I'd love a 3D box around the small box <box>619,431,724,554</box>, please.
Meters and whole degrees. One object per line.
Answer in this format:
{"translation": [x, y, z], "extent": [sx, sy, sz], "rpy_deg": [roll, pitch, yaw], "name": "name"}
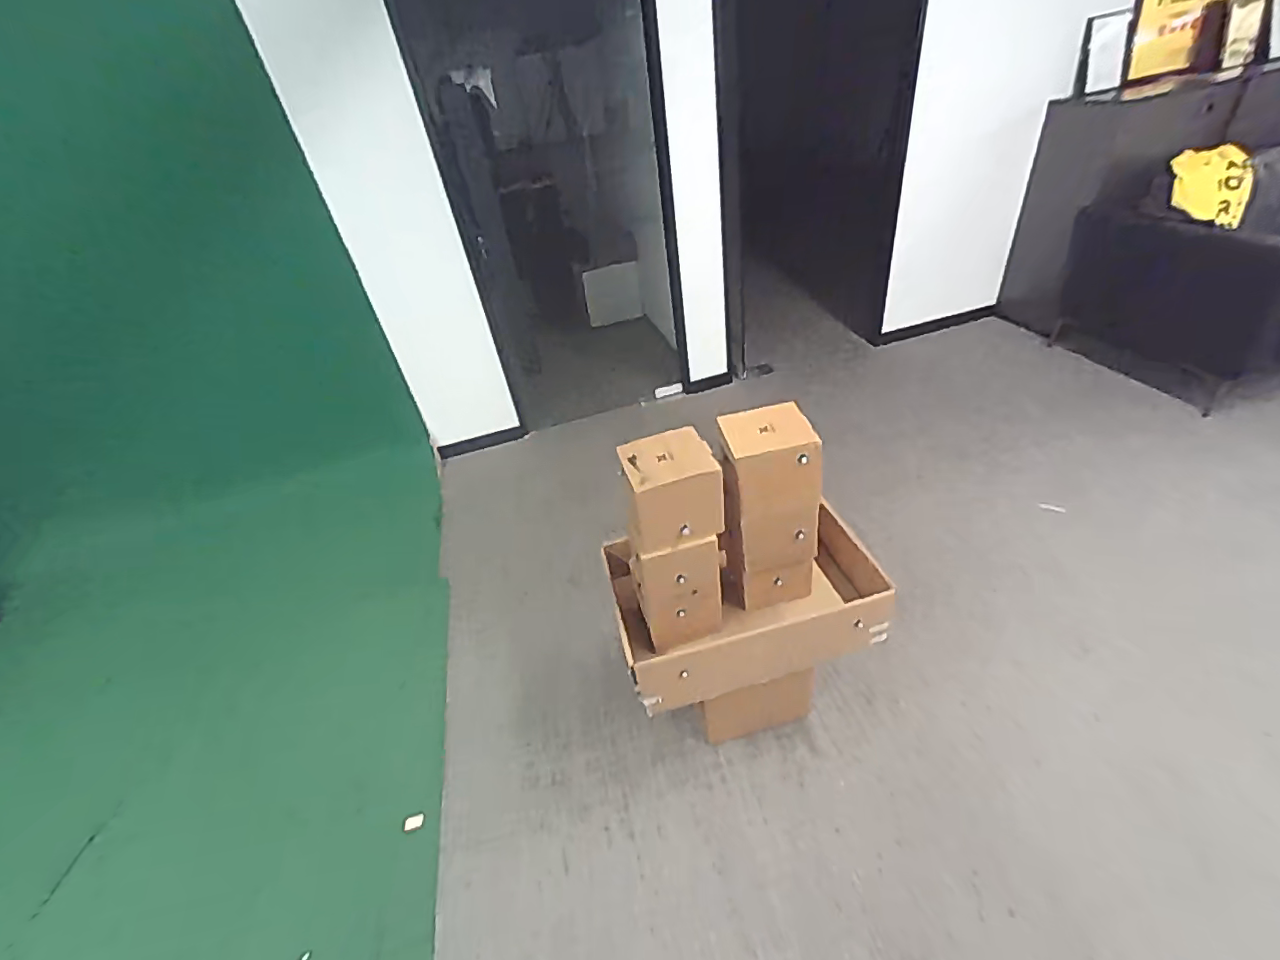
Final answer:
{"translation": [0.065, 0.027, 1.121], "extent": [0.179, 0.176, 0.168], "rpy_deg": [-15, 38, -8], "name": "small box"}
